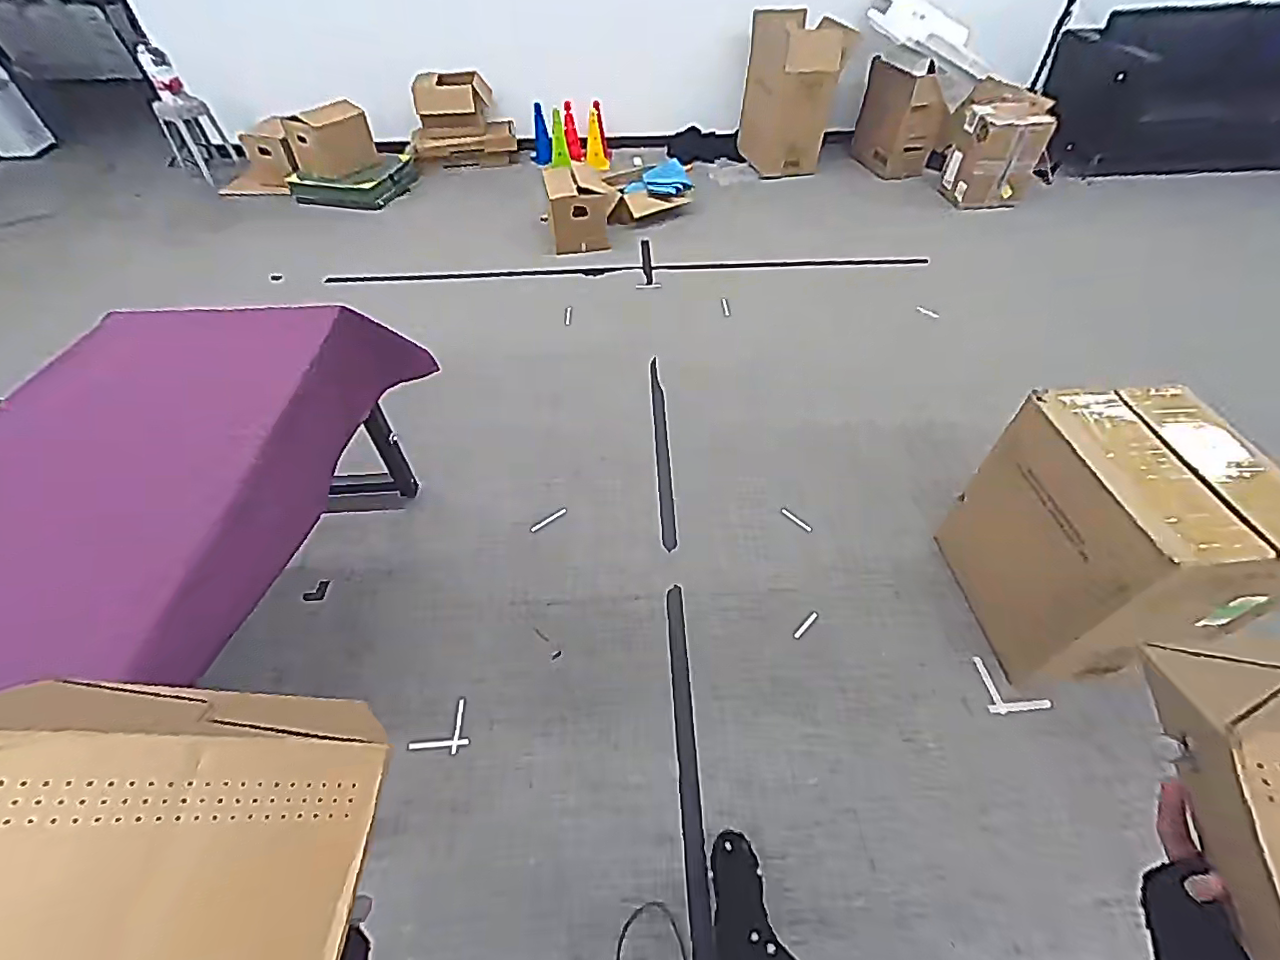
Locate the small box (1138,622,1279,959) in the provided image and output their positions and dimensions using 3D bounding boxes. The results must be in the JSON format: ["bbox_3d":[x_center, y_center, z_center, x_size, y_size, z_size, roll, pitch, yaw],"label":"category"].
[{"bbox_3d":[0.368,0.160,0.246,0.168,0.179,0.176,-18,79,33],"label":"small box"}]
